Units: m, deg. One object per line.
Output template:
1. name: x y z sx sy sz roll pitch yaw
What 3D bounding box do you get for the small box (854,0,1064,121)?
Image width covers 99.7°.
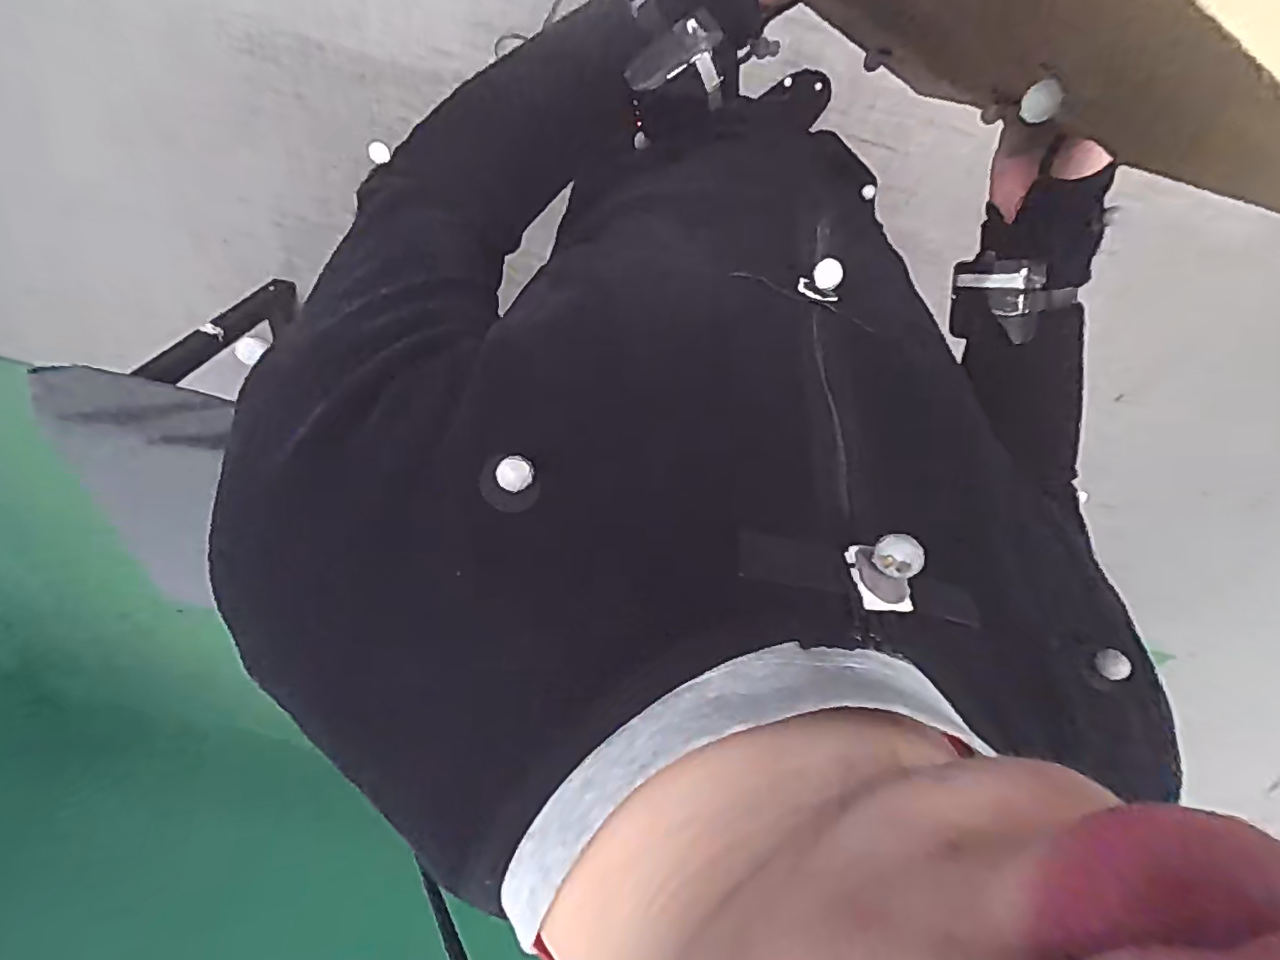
1. small box: 0.230 -0.310 0.274 0.168 0.176 0.179 22 126 -14

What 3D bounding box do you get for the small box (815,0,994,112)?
1. small box: 0.244 -0.415 0.398 0.168 0.176 0.179 25 127 -14

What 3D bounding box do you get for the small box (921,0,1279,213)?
1. small box: 0.220 -0.201 0.151 0.168 0.176 0.179 24 128 -14
